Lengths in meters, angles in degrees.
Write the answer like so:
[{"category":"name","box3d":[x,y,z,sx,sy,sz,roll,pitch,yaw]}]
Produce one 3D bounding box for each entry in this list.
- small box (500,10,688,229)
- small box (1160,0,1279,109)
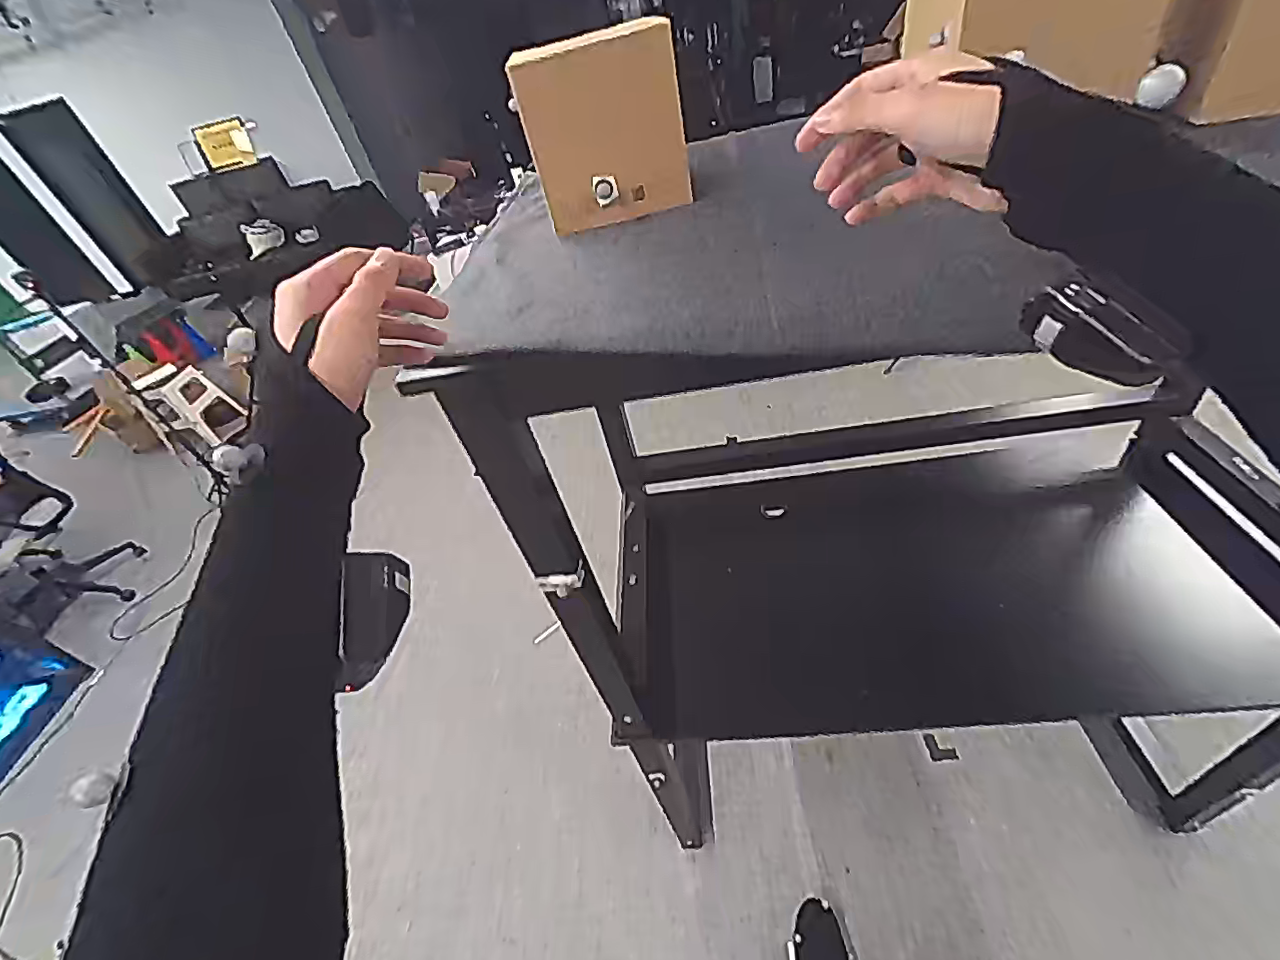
[{"category":"small box","box3d":[-0.048,-0.411,0.624,0.168,0.176,0.179,-14,41,2]},{"category":"small box","box3d":[0.589,-0.433,0.452,0.179,0.176,0.168,4,45,20]}]
